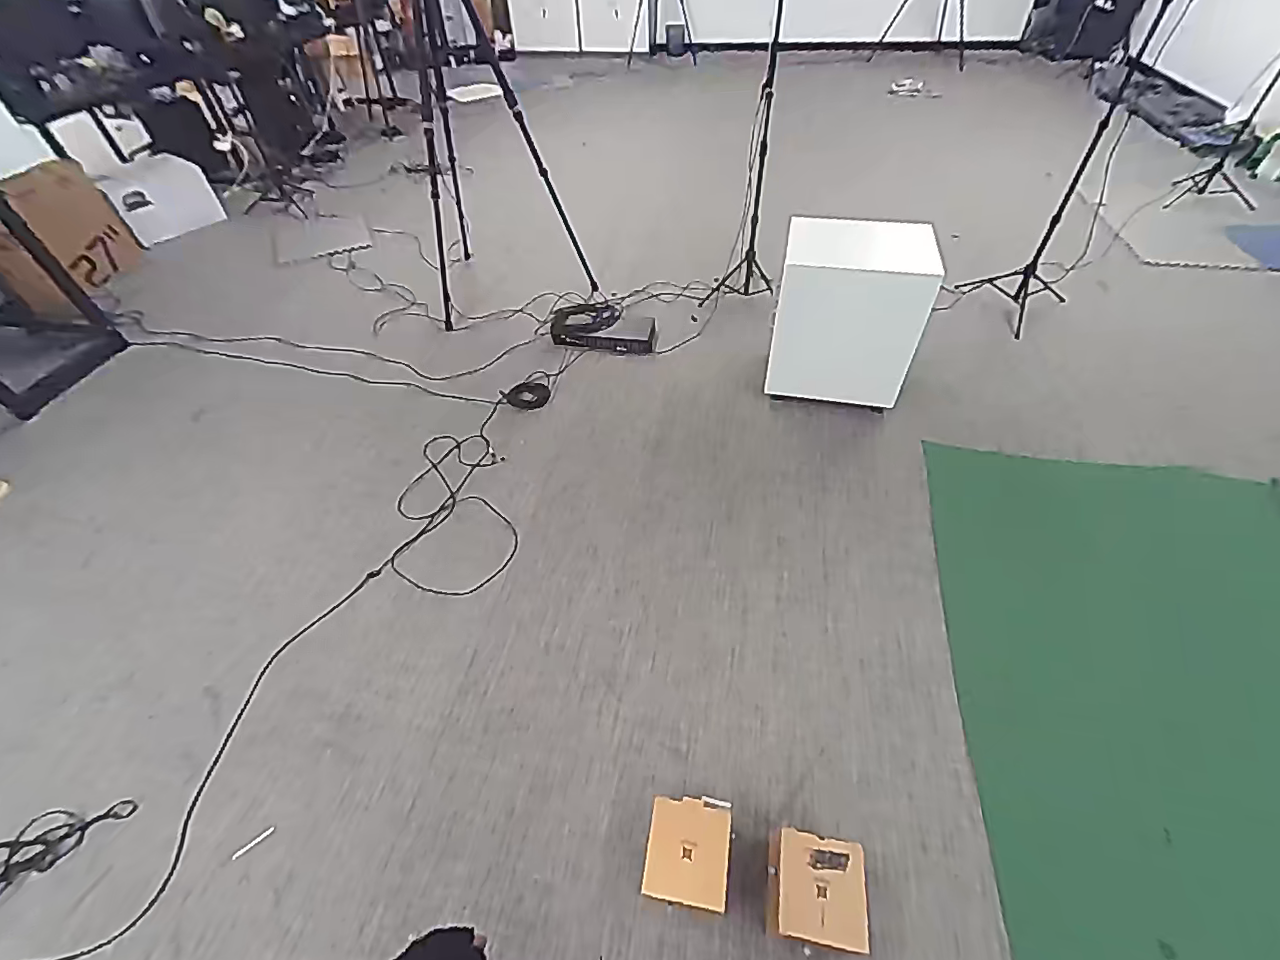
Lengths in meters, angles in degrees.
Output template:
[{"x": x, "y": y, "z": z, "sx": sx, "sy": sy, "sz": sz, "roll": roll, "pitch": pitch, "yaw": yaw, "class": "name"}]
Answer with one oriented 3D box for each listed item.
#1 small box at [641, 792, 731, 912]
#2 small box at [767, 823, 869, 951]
[{"x": 0.100, "y": 0.798, "z": 1.156, "sx": 0.168, "sy": 0.176, "sz": 0.179, "roll": 7, "pitch": 48, "yaw": 8, "class": "small box"}, {"x": 0.357, "y": 0.836, "z": 1.111, "sx": 0.168, "sy": 0.176, "sz": 0.179, "roll": 7, "pitch": 49, "yaw": 8, "class": "small box"}]
